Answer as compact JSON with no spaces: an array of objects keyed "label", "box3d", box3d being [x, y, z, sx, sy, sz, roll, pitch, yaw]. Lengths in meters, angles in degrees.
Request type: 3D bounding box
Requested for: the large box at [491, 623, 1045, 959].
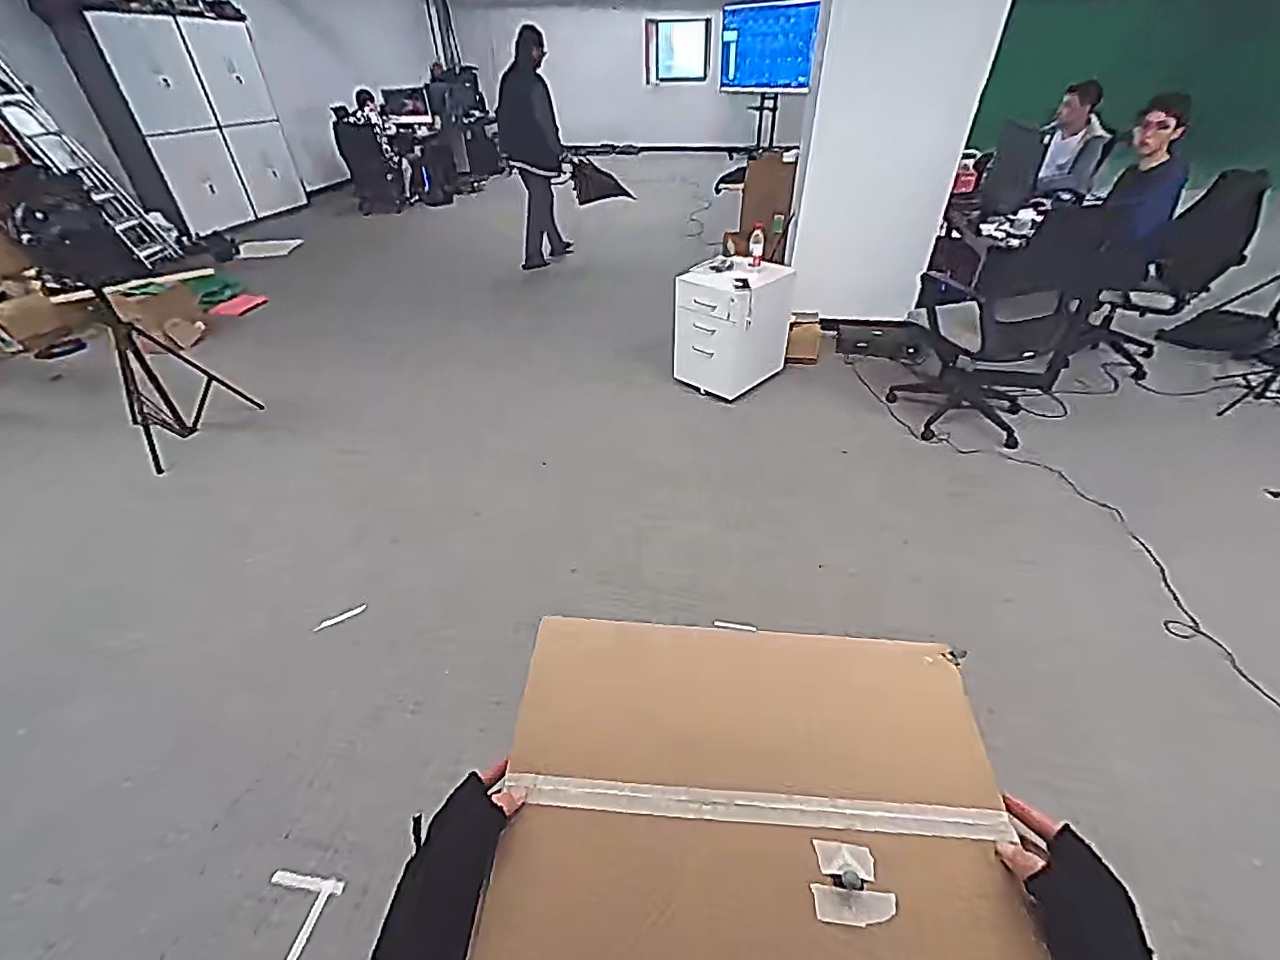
[{"label":"large box","box3d":[0.095,0.372,0.562,0.408,0.320,0.320,3,47,2]}]
